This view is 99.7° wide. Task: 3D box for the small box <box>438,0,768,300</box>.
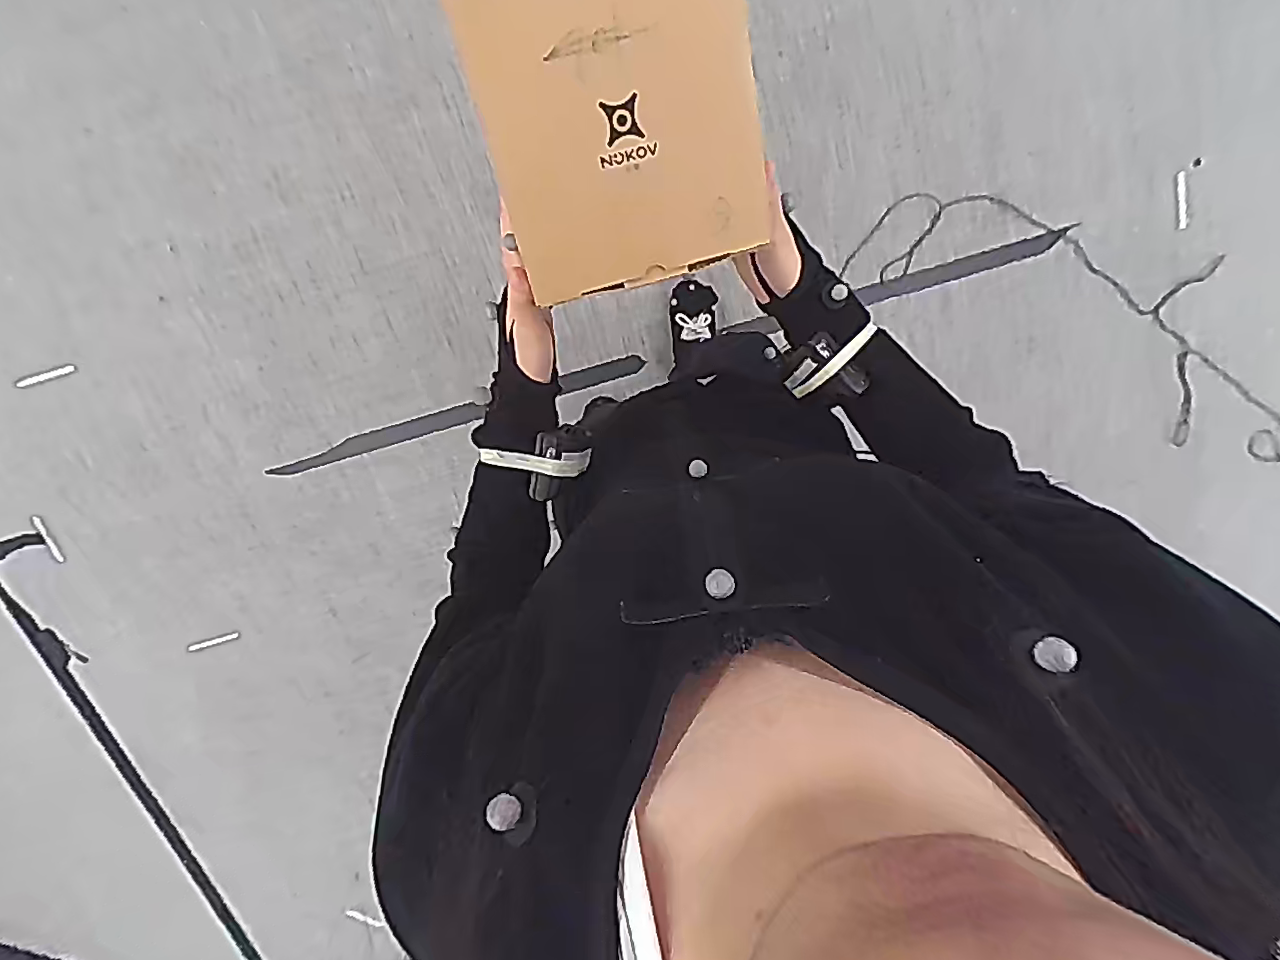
[{"bbox_3d":[-0.023,-0.248,0.394,0.168,0.176,0.179,-17,115,-1],"label":"small box"}]
